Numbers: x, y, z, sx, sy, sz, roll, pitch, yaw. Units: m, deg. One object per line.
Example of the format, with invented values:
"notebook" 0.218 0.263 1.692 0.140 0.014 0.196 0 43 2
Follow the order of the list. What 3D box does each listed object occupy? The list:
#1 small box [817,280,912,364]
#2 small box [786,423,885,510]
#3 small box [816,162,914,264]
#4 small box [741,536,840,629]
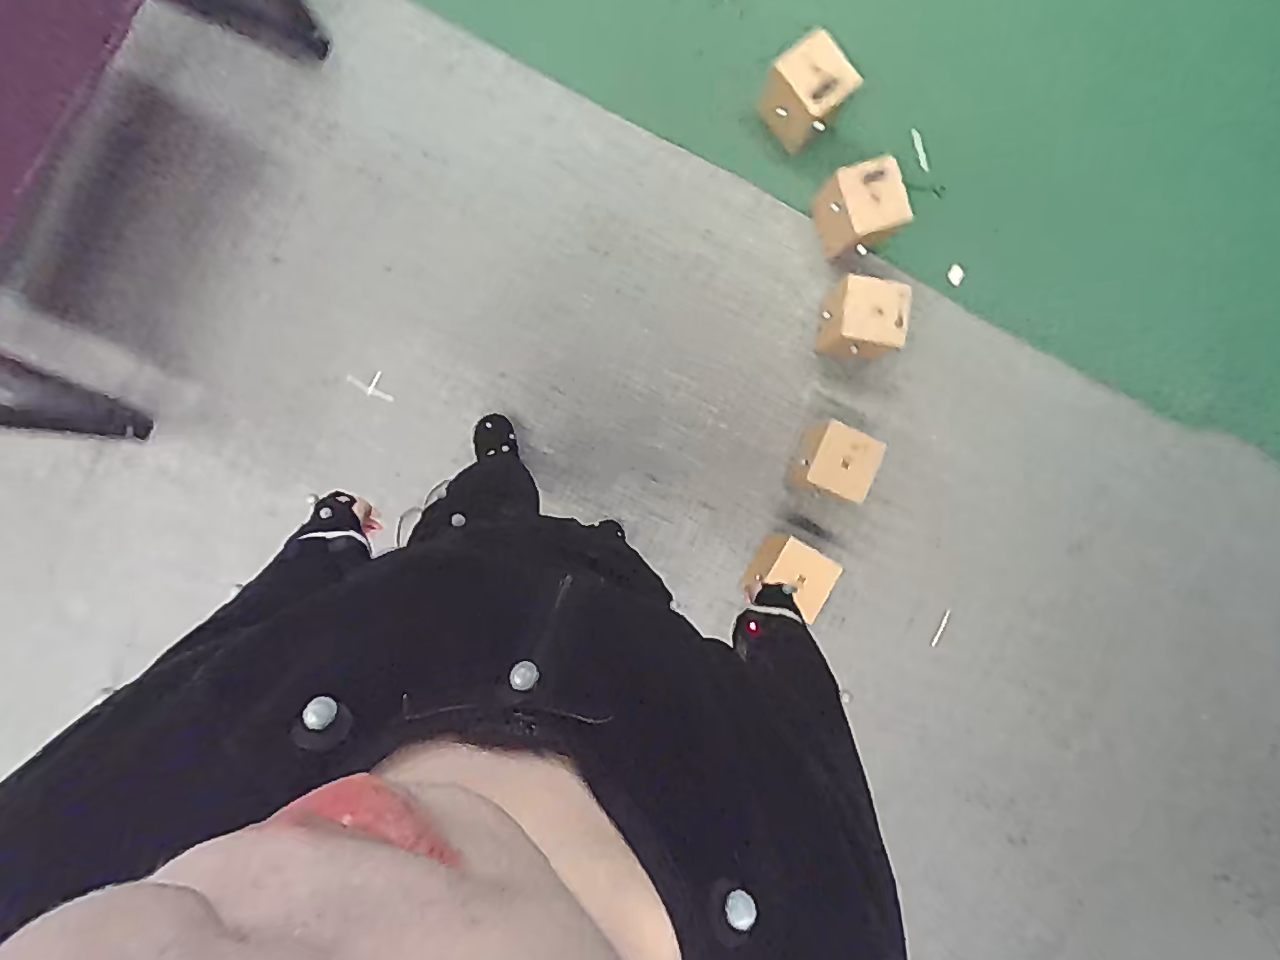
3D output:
"small box" 0.606 -0.424 1.479 0.179 0.176 0.168 9 89 -4
"small box" 0.519 -0.035 1.467 0.168 0.176 0.179 25 88 -5
"small box" 0.606 -0.723 1.481 0.168 0.176 0.179 -17 92 -5
"small box" 0.395 0.266 1.458 0.168 0.176 0.179 31 88 -4
